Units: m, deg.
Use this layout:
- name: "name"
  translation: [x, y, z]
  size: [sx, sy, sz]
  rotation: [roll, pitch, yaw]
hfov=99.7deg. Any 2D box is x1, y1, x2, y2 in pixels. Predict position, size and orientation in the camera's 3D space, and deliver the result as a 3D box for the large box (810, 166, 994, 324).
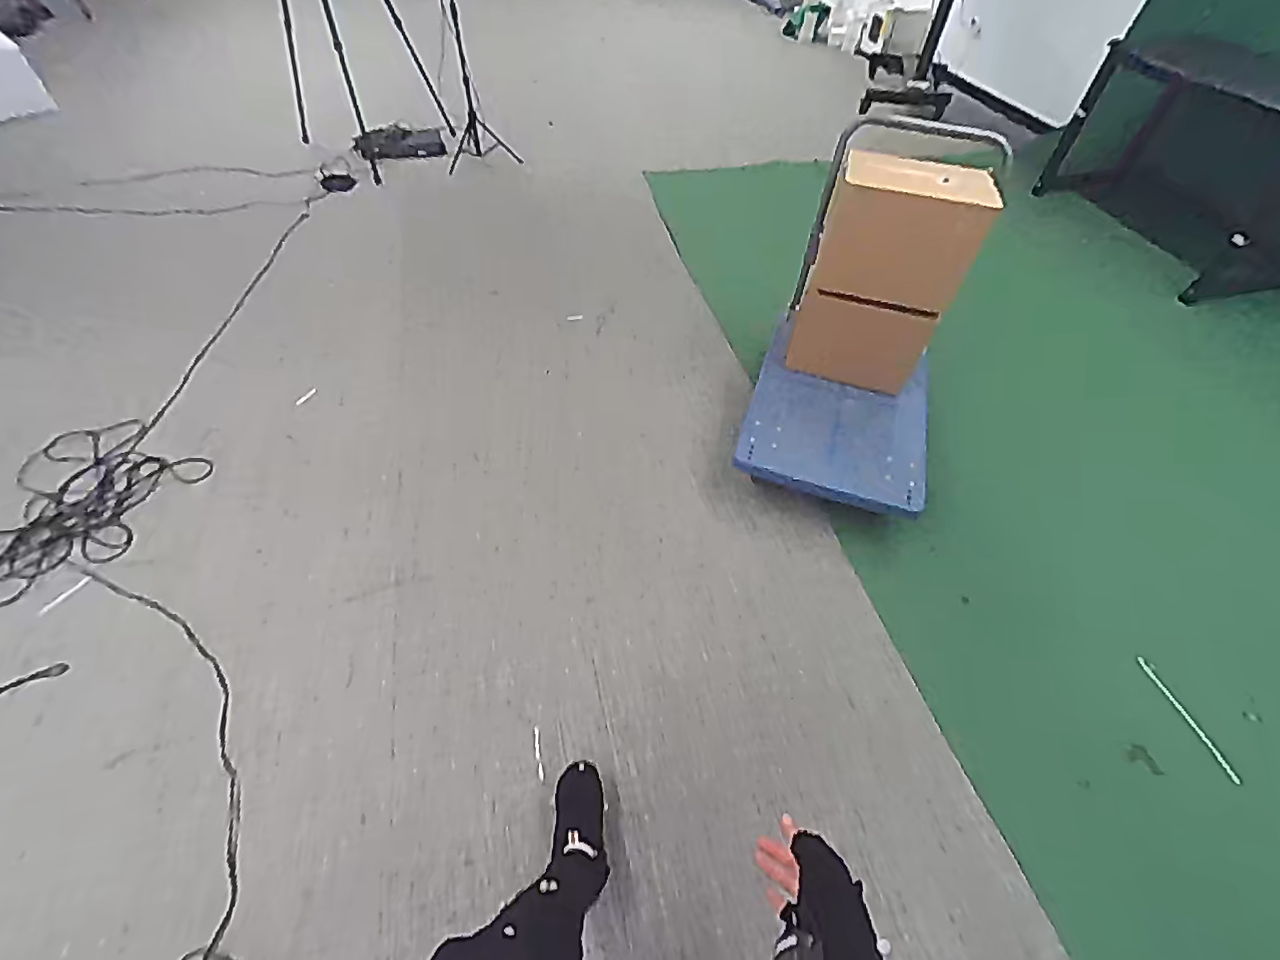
- name: "large box"
  translation: [0.762, -0.714, 1.639]
  size: [0.408, 0.320, 0.320]
  rotation: [16, 47, 9]
